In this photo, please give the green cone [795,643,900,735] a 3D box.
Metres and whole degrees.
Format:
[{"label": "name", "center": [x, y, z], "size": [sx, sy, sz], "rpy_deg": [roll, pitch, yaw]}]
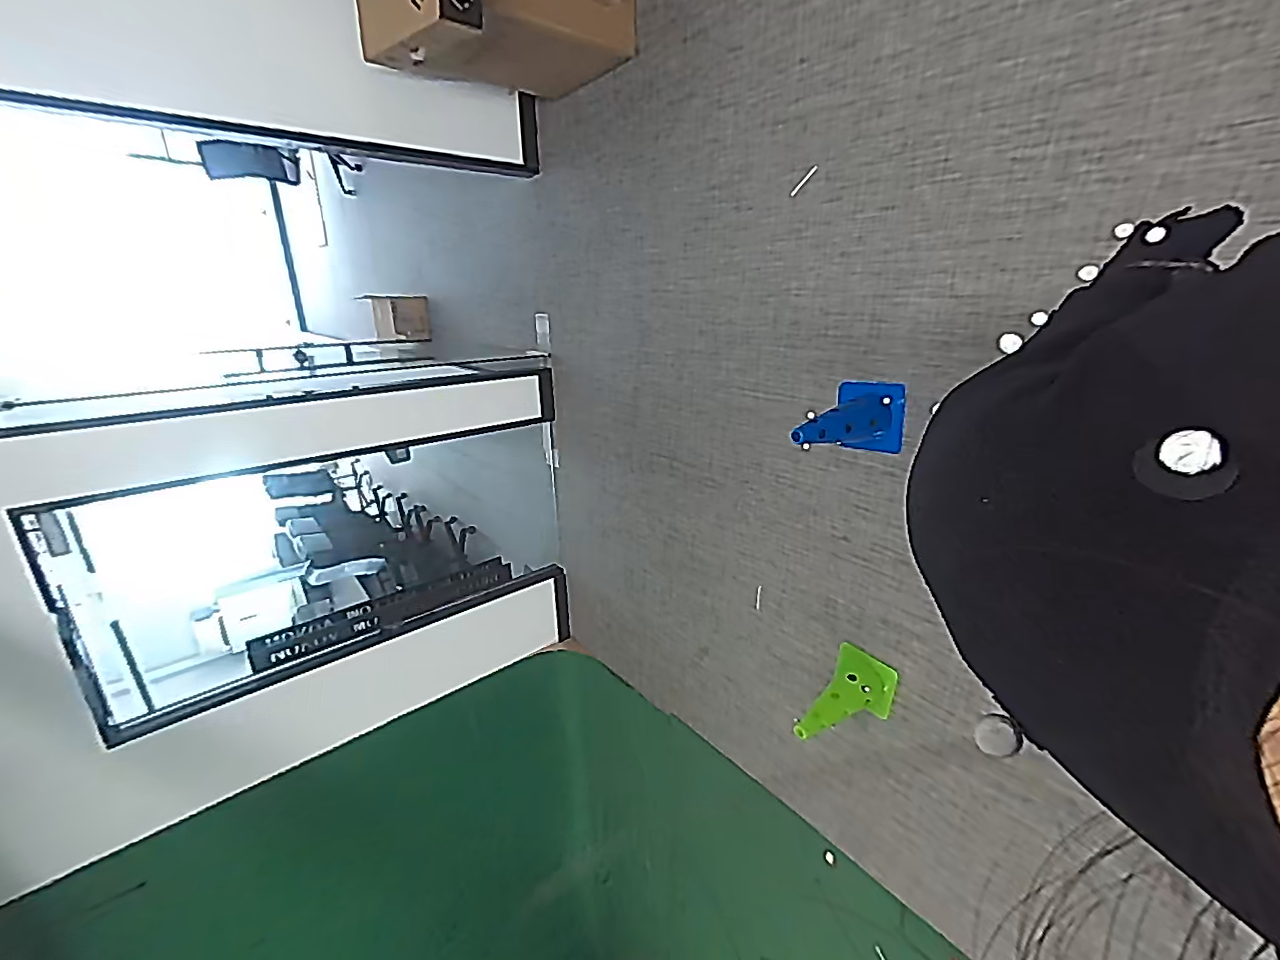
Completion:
[{"label": "green cone", "center": [0.603, 0.688, 1.660], "size": [0.200, 0.368, 0.202], "rpy_deg": [25, 120, 46]}]
